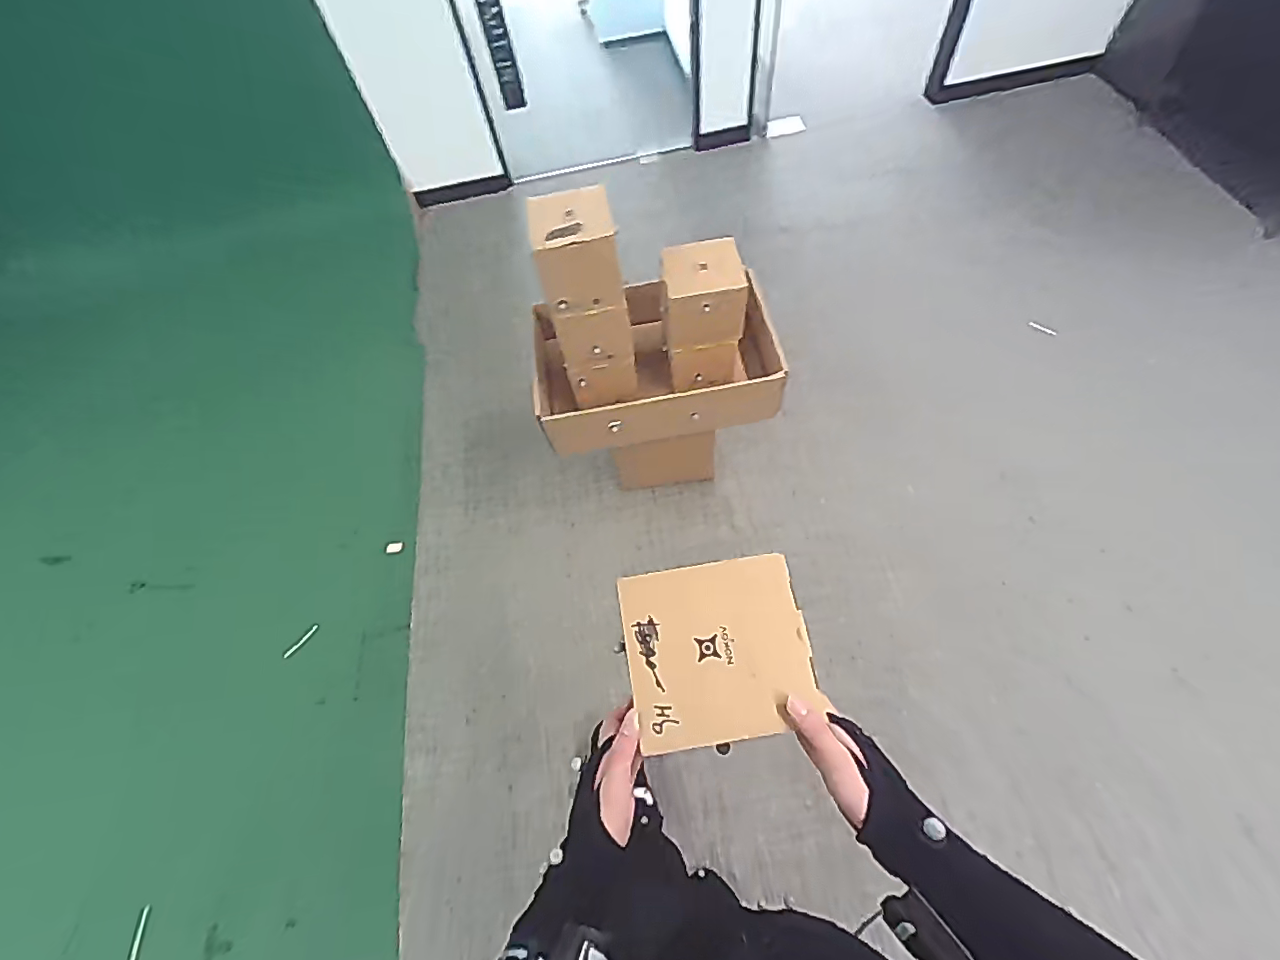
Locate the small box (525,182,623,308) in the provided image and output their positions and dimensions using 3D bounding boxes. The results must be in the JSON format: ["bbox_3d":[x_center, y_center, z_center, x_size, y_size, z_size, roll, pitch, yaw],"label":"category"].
[{"bbox_3d":[-0.134,-0.481,1.130,0.168,0.176,0.179,-10,59,-1],"label":"small box"}]

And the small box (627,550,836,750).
[{"bbox_3d":[0.082,0.187,0.585,0.179,0.176,0.168,-8,65,-2],"label":"small box"}]

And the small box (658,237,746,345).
[{"bbox_3d":[0.141,-0.436,1.272,0.179,0.176,0.168,-8,62,0],"label":"small box"}]

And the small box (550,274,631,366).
[{"bbox_3d":[-0.117,-0.395,1.270,0.168,0.176,0.179,-9,60,0],"label":"small box"}]
